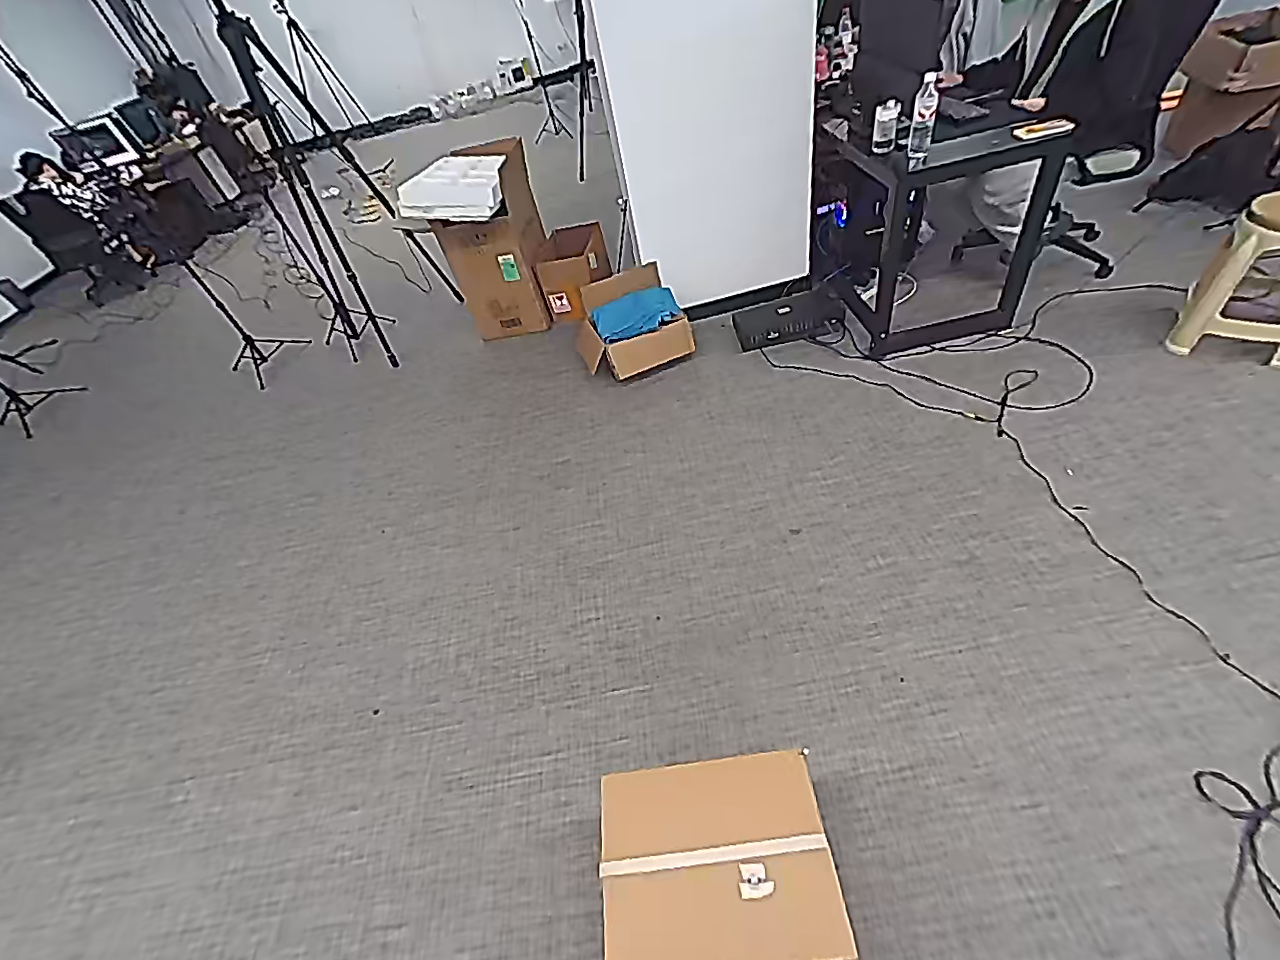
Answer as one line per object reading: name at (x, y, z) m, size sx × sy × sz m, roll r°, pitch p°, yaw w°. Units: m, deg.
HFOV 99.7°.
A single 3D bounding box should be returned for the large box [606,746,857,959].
large box at (0.163, 0.768, 1.068) m, size 0.408 × 0.320 × 0.320 m, roll -10°, pitch 45°, yaw 4°
